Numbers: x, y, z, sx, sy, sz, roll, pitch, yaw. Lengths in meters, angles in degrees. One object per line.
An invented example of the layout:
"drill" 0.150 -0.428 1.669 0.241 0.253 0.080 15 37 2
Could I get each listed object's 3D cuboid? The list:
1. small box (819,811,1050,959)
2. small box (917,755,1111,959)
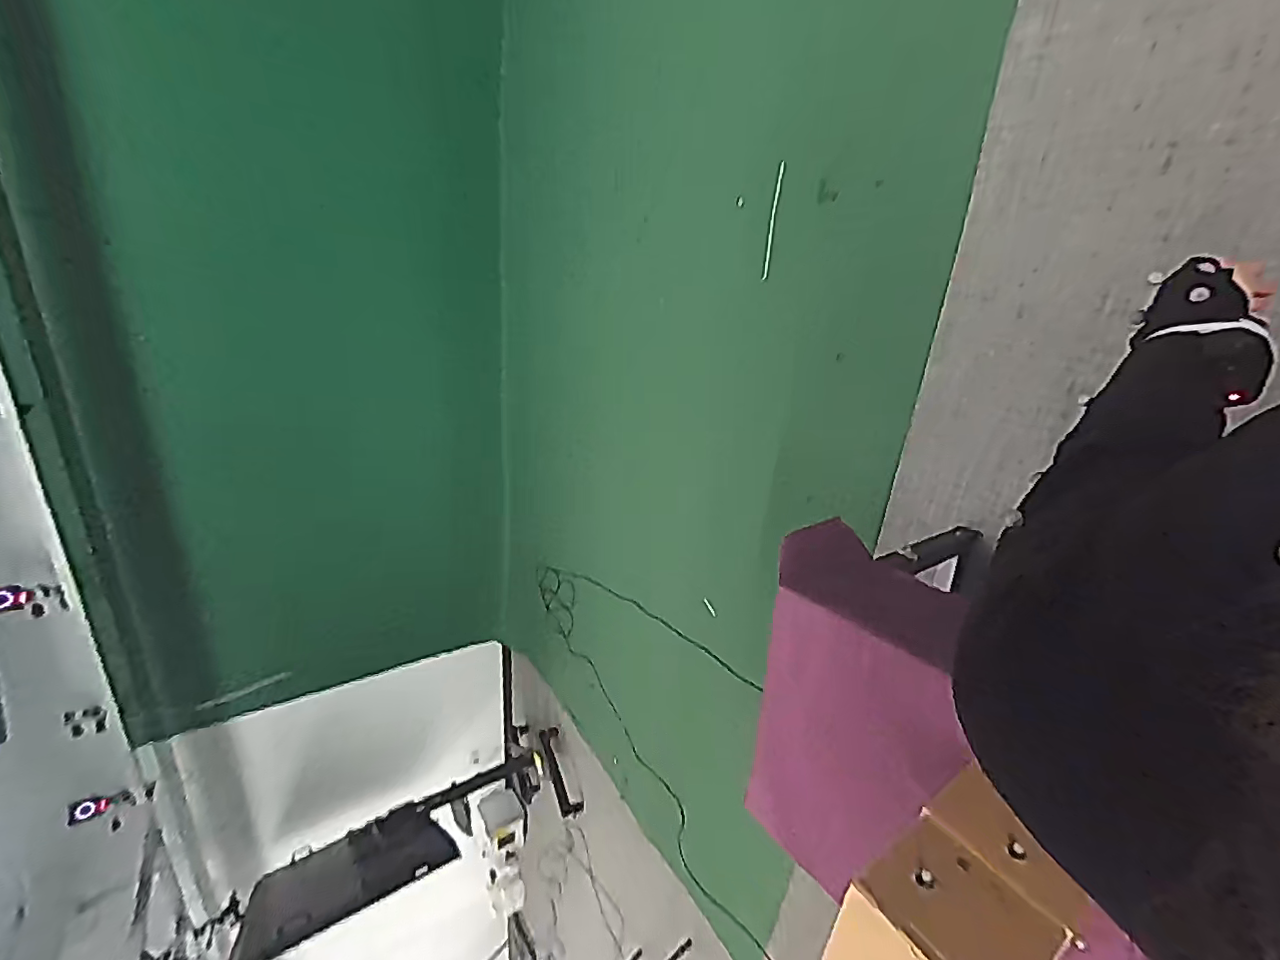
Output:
"small box" 0.351 0.551 0.651 0.168 0.176 0.179 35 126 49
"small box" 0.487 0.520 0.737 0.179 0.176 0.168 35 125 48
